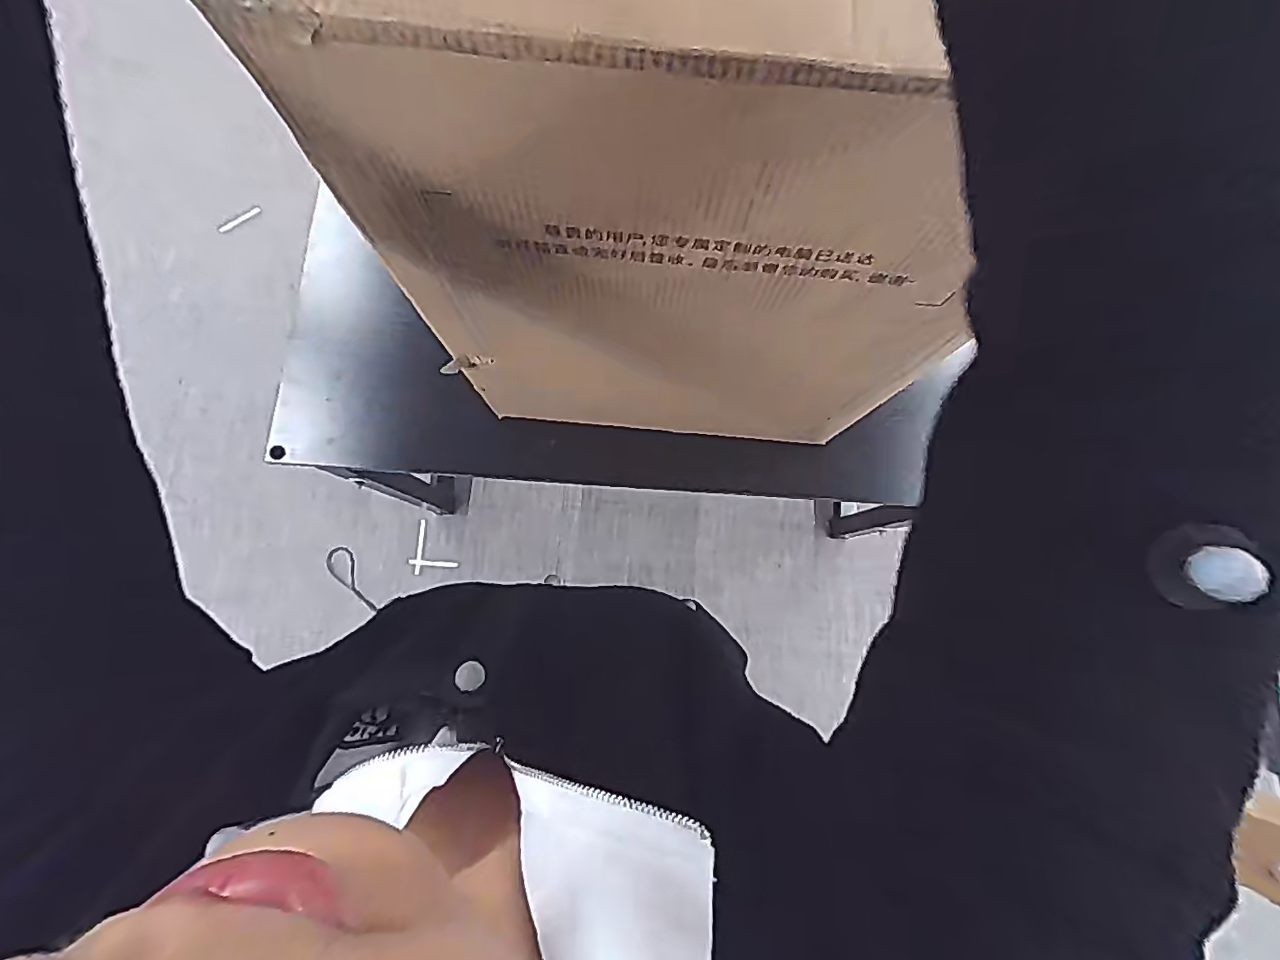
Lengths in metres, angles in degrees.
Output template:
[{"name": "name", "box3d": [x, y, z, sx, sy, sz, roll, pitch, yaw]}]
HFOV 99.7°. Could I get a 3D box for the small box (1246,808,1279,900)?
[{"name": "small box", "box3d": [1.383, 0.765, 1.065, 0.179, 0.176, 0.168, -2, 78, -3]}]
